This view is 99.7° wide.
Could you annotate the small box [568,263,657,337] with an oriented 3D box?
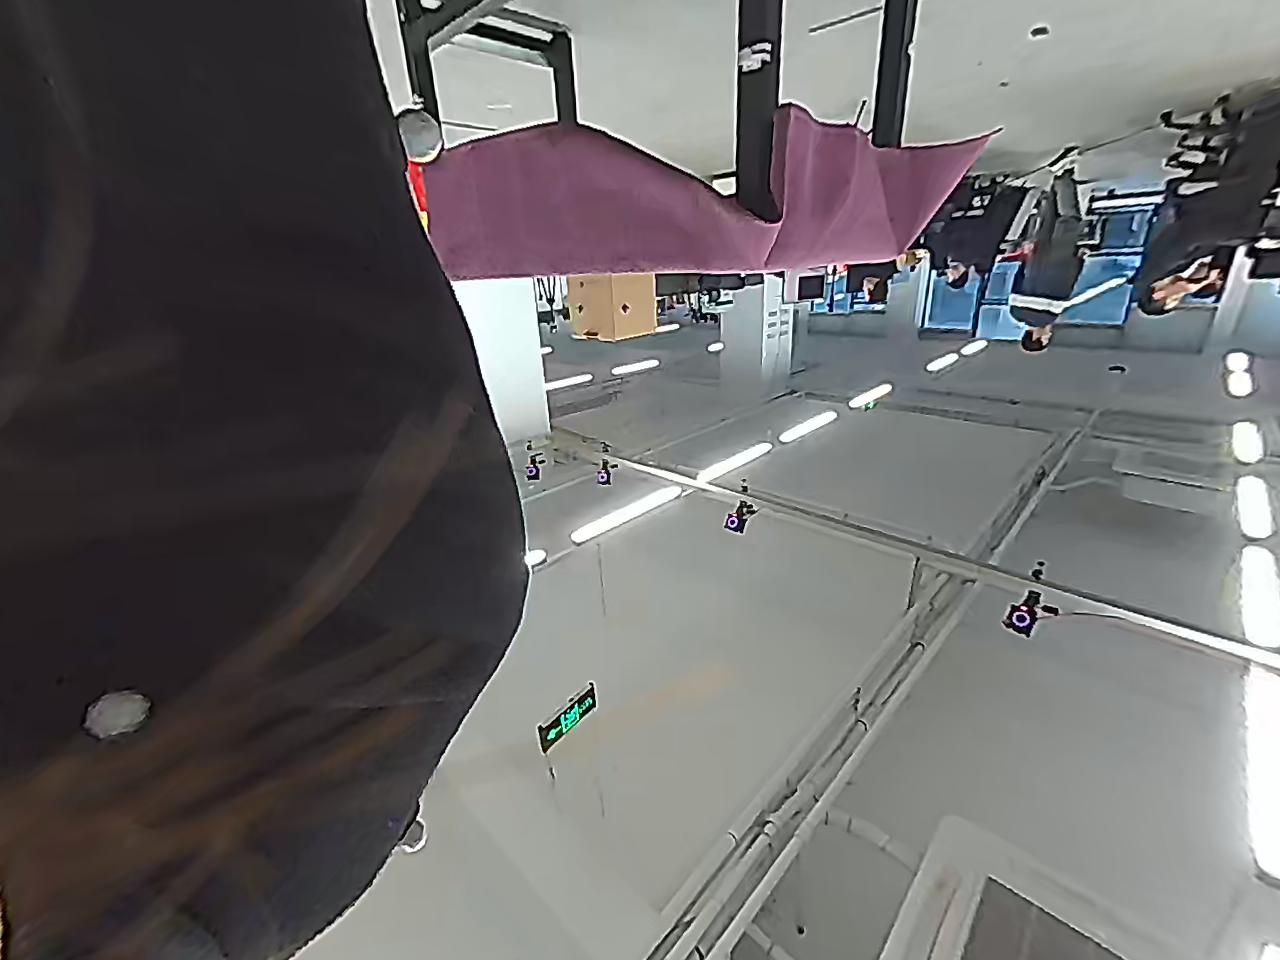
[{"bbox_3d":[-0.074,-0.483,1.446,0.168,0.176,0.179,16,-150,37],"label":"small box"}]
